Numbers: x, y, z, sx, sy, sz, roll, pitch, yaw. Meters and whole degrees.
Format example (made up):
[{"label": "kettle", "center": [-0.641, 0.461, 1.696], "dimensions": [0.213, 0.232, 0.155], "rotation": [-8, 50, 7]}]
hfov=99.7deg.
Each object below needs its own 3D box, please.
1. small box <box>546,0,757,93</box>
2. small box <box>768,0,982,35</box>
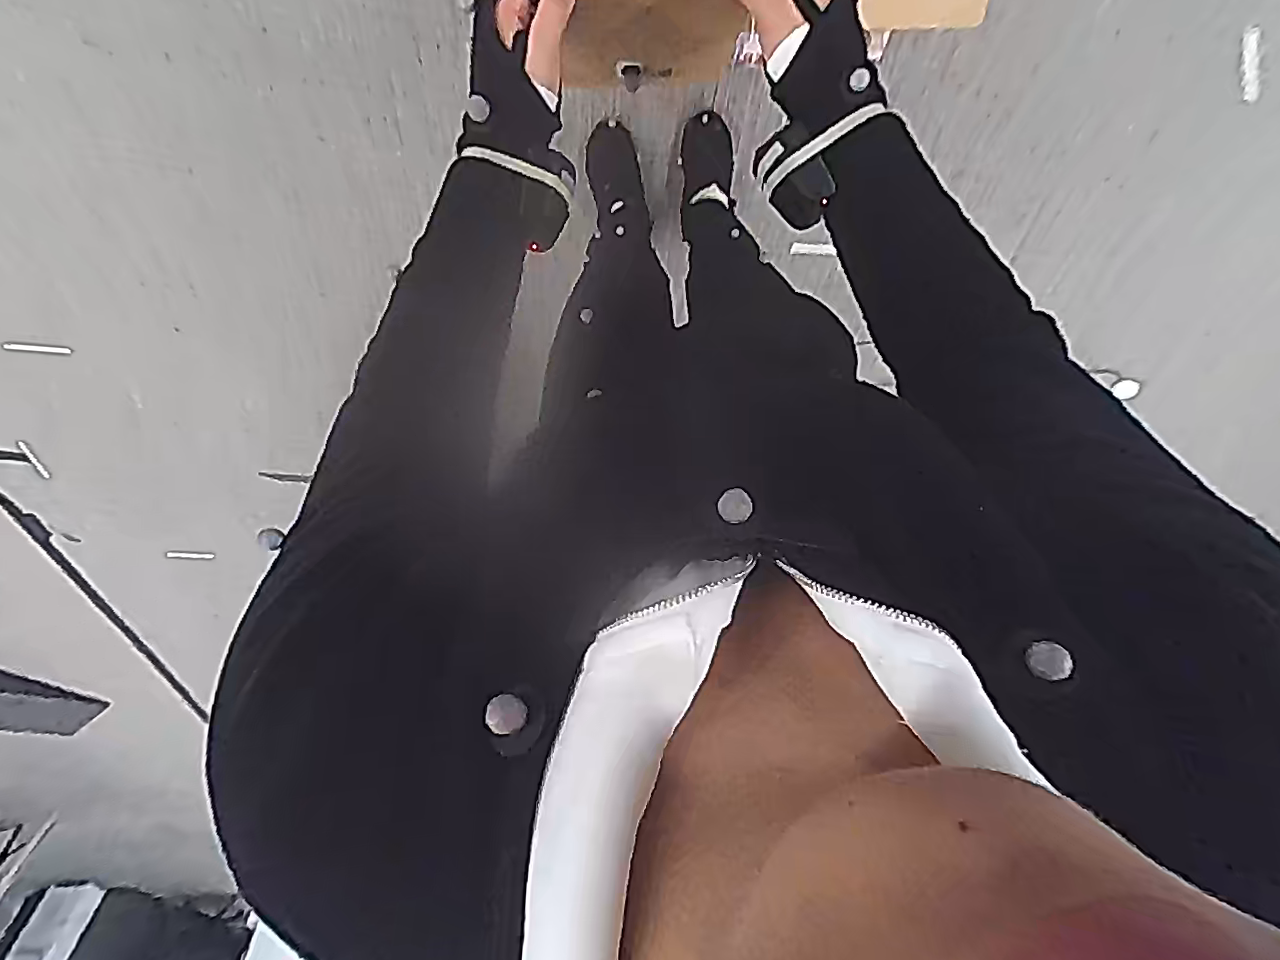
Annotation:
[{"label": "small box", "center": [-0.001, -0.461, 0.448], "dimensions": [0.168, 0.176, 0.179], "rotation": [-6, 104, -3]}, {"label": "small box", "center": [0.243, -0.560, 0.540], "dimensions": [0.179, 0.176, 0.168], "rotation": [-2, 134, -2]}]
